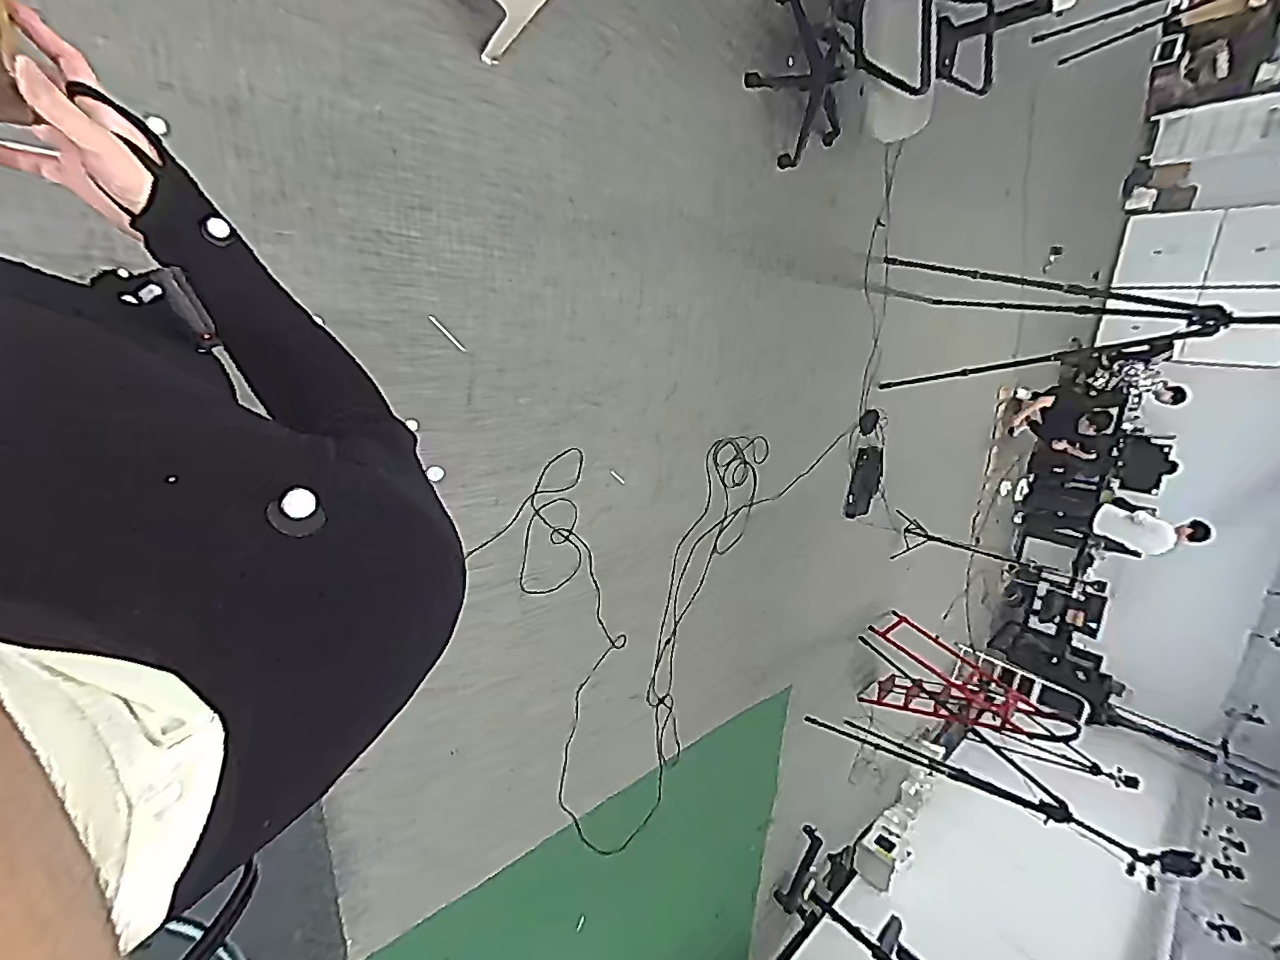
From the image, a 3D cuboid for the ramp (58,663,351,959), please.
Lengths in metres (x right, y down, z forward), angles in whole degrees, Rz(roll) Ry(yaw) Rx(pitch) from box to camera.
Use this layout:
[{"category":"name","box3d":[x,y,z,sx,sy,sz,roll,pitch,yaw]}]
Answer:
[{"category":"ramp","box3d":[-1.133,1.049,1.474,0.509,0.206,0.991,-13,111,-39]}]
